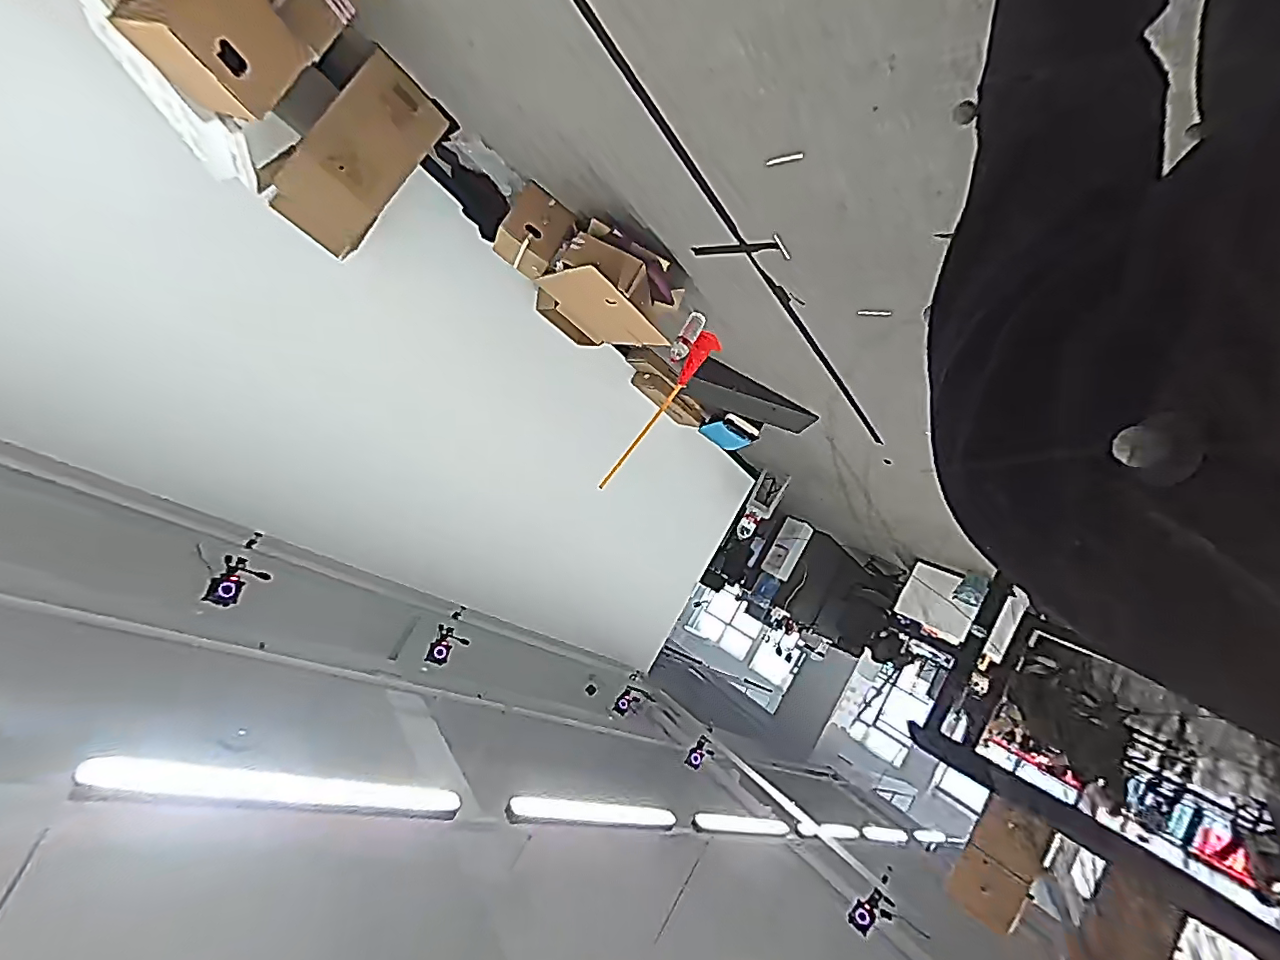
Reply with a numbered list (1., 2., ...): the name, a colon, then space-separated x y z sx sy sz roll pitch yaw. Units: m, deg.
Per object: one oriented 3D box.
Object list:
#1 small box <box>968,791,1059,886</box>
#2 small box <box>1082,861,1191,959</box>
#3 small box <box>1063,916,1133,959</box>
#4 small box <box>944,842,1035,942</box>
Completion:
1. small box: 1.105 1.047 1.594 0.168 0.176 0.179 22 170 47
2. small box: 1.272 1.118 1.387 0.179 0.176 0.168 33 174 -41
3. small box: 1.192 1.260 1.375 0.168 0.176 0.179 22 171 48
4. small box: 1.023 1.189 1.579 0.168 0.176 0.179 24 171 47
